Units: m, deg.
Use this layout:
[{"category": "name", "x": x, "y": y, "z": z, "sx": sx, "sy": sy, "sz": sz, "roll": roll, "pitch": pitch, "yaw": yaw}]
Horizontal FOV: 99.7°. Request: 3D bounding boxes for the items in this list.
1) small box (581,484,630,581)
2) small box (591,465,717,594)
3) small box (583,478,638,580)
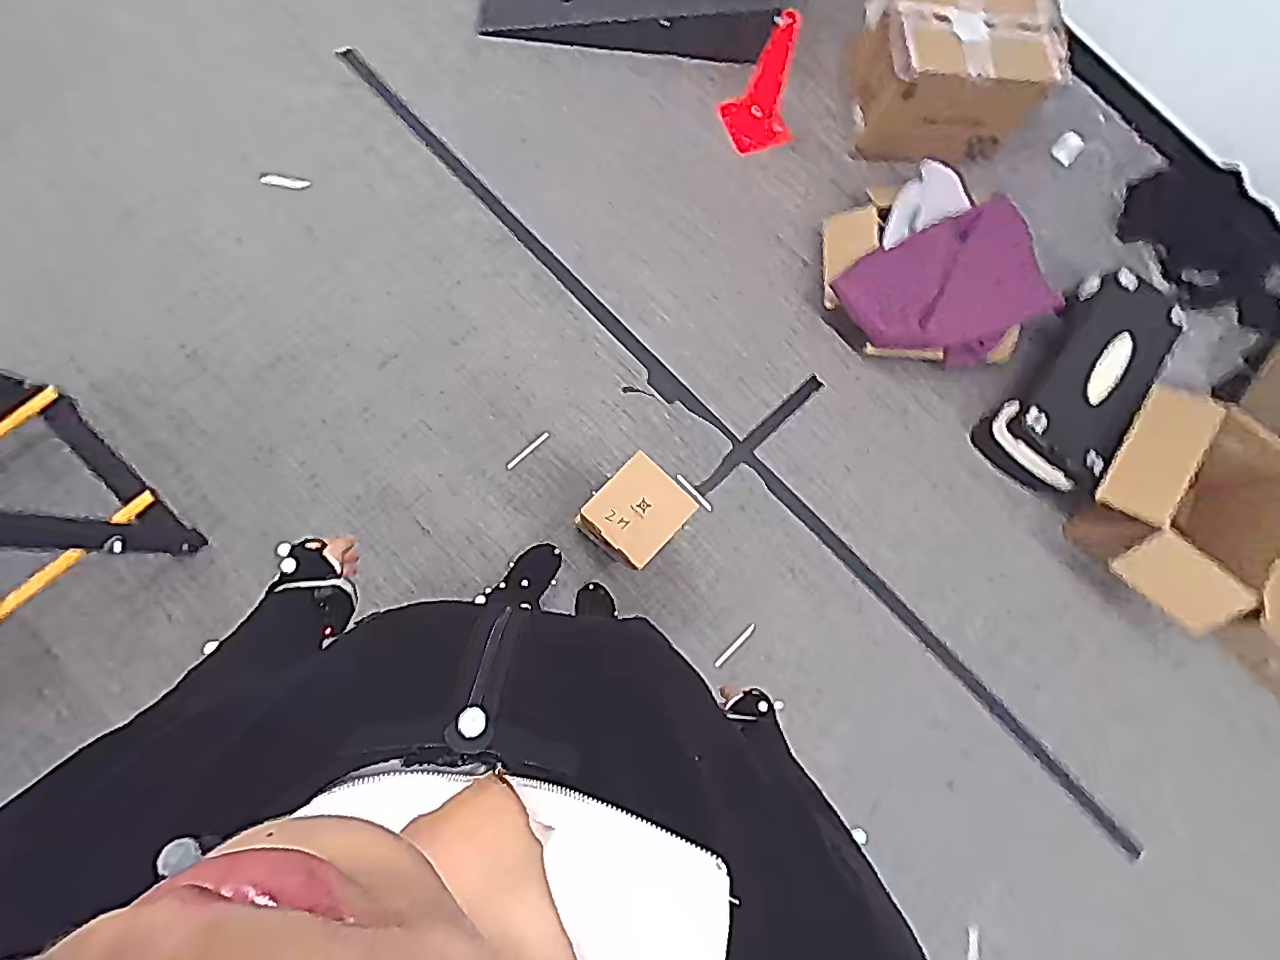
[{"category": "small box", "x": -0.036, "y": 0.135, "z": 1.374, "sx": 0.168, "sy": 0.176, "sz": 0.179, "roll": 40, "pitch": 81, "yaw": 2}, {"category": "small box", "x": 0.017, "y": 0.099, "z": 1.049, "sx": 0.168, "sy": 0.176, "sz": 0.179, "roll": 44, "pitch": 79, "yaw": 3}, {"category": "small box", "x": -0.008, "y": 0.123, "z": 1.212, "sx": 0.168, "sy": 0.176, "sz": 0.179, "roll": 39, "pitch": 80, "yaw": 2}]
